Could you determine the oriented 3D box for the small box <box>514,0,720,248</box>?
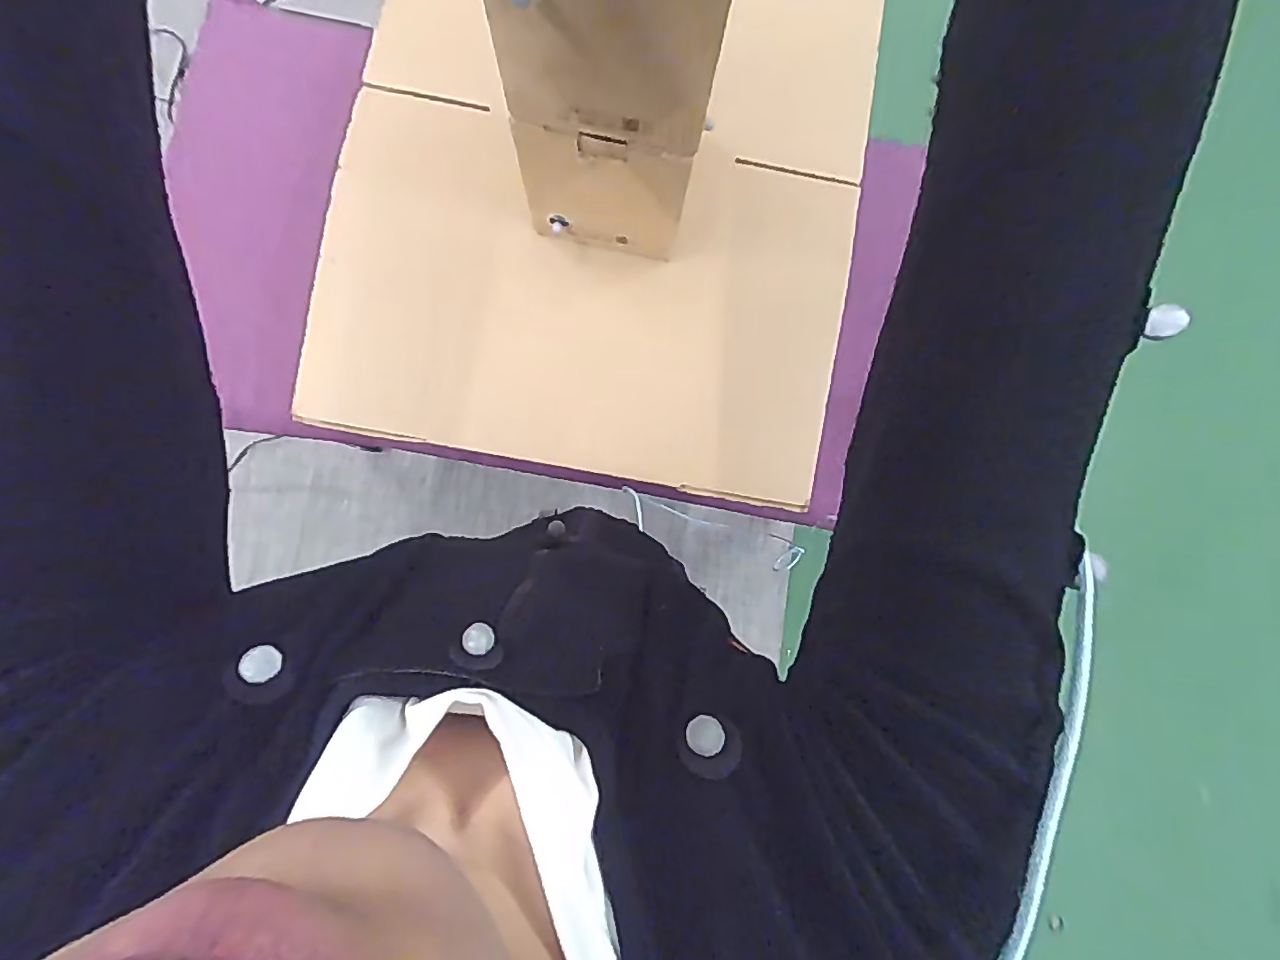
[{"bbox_3d":[-0.022,-0.367,0.555,0.168,0.176,0.179,8,84,-3],"label":"small box"}]
